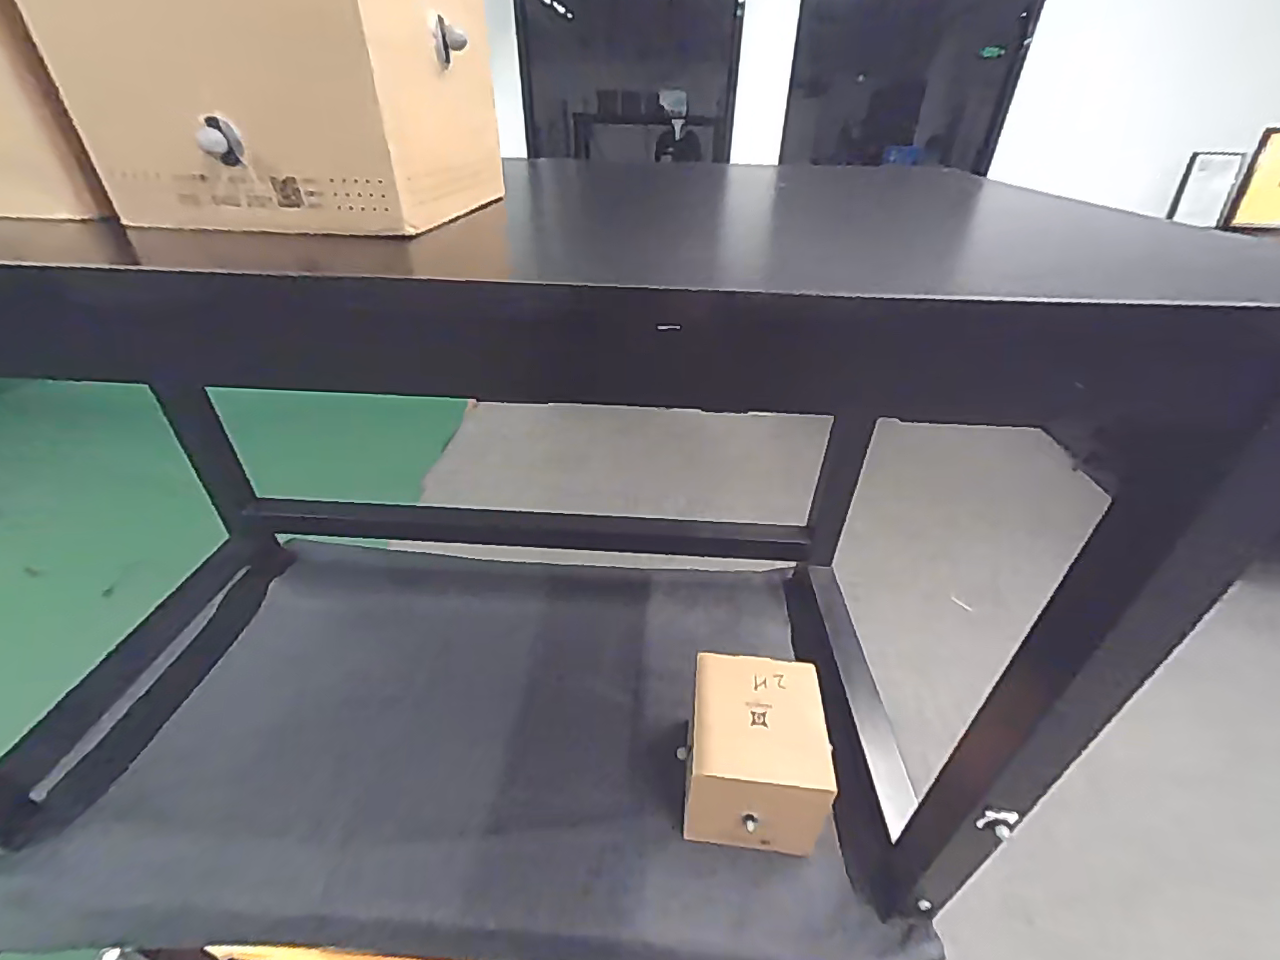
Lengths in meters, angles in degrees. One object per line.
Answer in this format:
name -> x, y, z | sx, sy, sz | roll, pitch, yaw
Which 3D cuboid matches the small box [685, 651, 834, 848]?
small box -> 0.150, 0.364, 0.733 | 0.168, 0.176, 0.179 | 5, 34, 5
